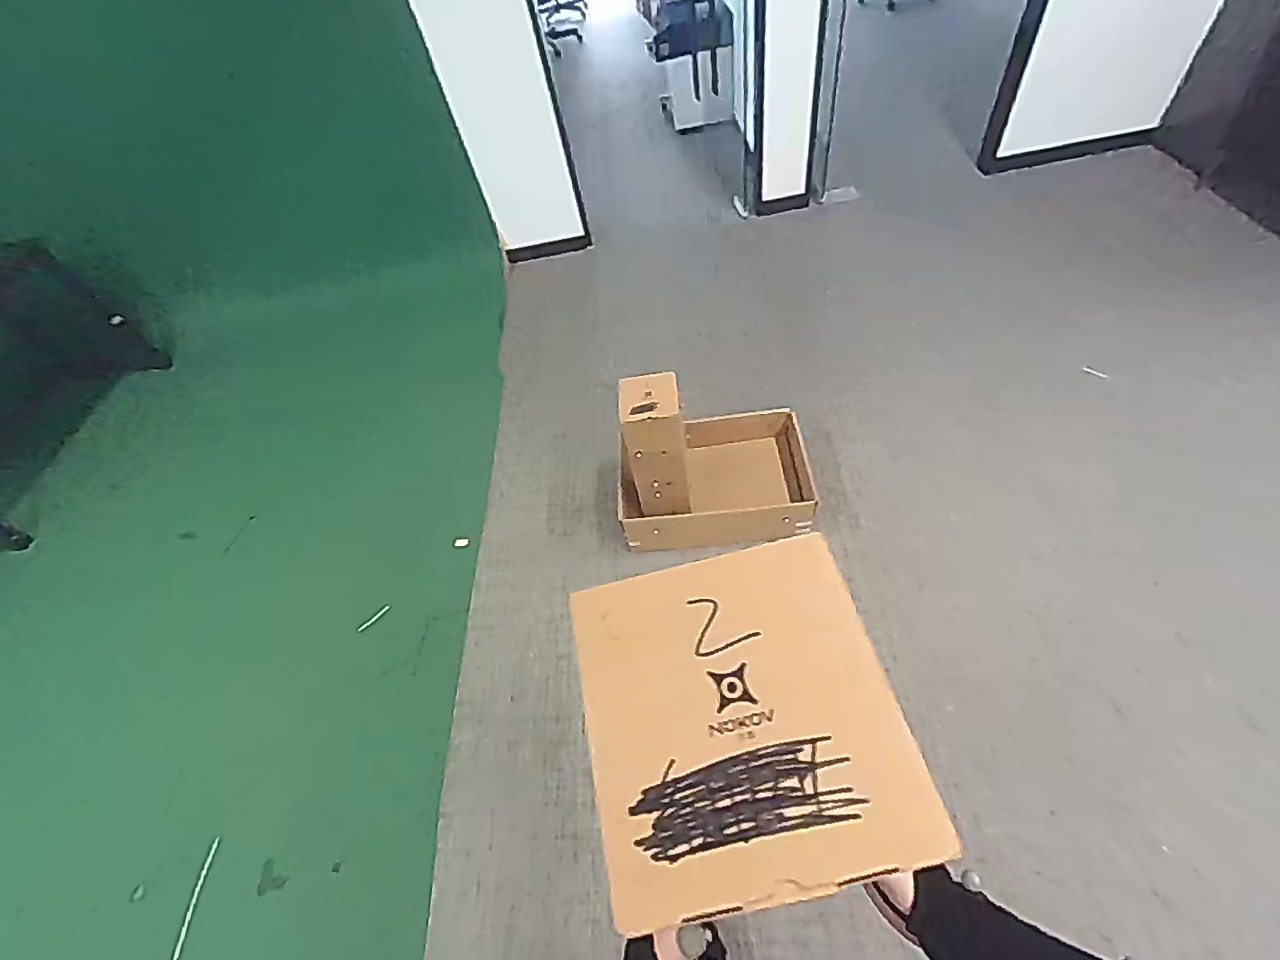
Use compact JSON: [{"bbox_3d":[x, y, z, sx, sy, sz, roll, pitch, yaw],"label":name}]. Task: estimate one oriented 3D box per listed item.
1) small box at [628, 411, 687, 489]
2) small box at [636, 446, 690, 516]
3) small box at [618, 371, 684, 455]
[{"bbox_3d":[0.057,-0.091,1.685,0.168,0.176,0.179,-5,54,7],"label":"small box"},{"bbox_3d":[0.080,0.003,1.817,0.168,0.176,0.179,-5,53,6],"label":"small box"},{"bbox_3d":[0.033,-0.185,1.553,0.168,0.176,0.179,-7,52,6],"label":"small box"}]
